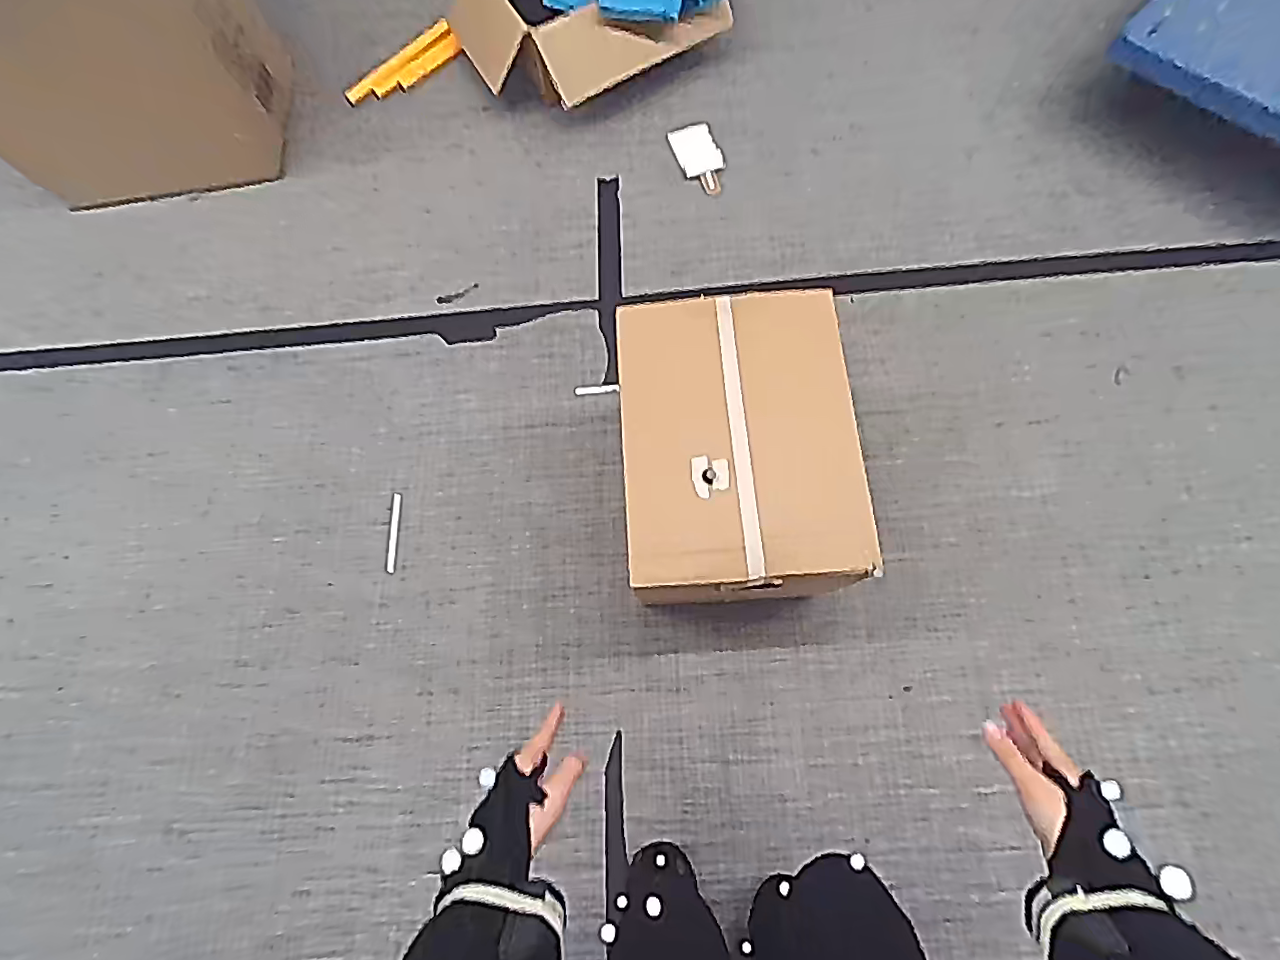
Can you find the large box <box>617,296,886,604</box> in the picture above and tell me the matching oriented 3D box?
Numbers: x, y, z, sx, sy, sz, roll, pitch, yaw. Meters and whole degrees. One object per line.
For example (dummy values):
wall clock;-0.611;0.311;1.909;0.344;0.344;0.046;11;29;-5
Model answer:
large box;0.142;-0.024;0.868;0.320;0.320;0.408;-5;73;2
